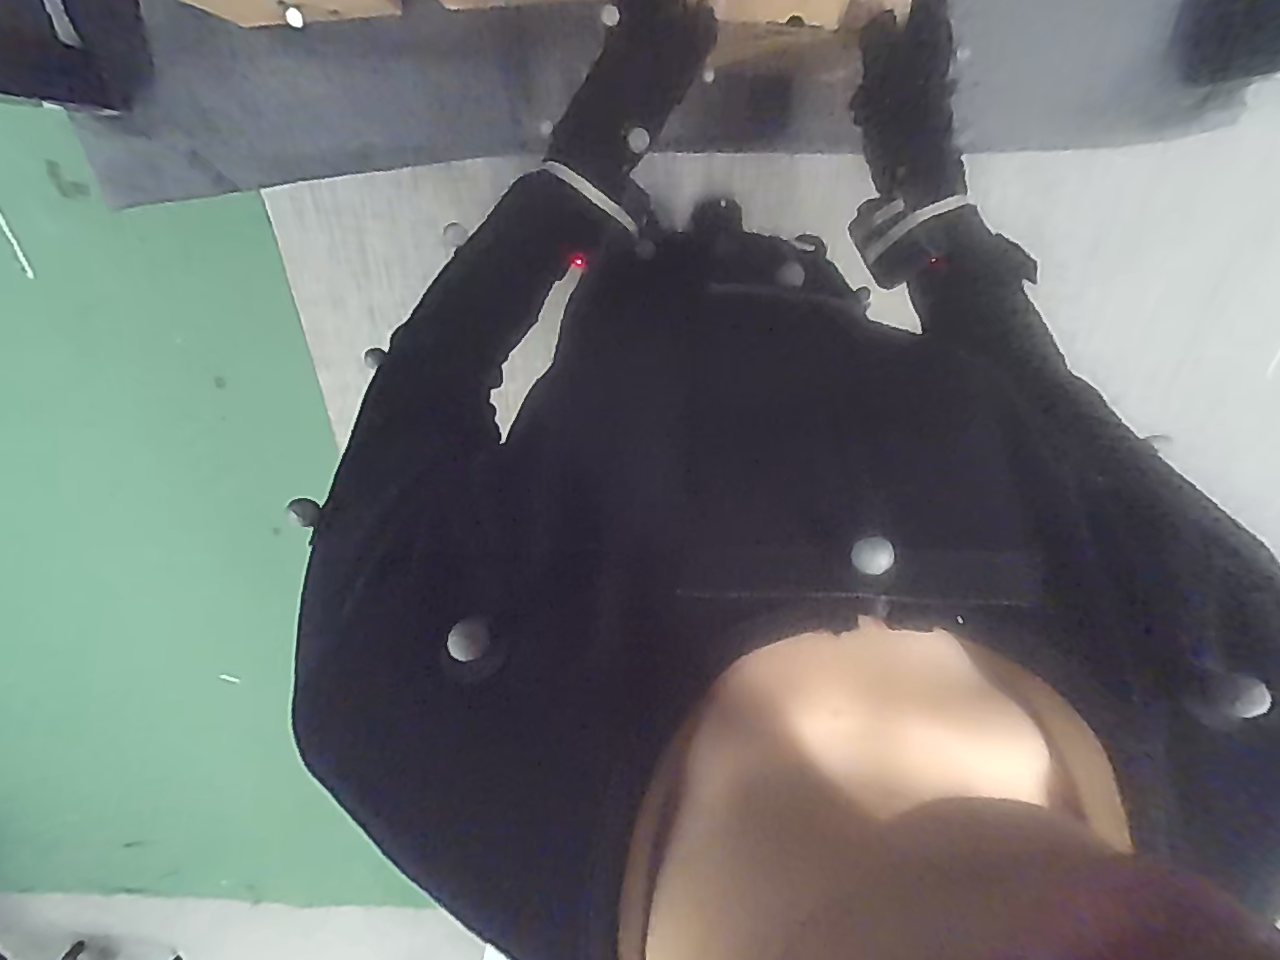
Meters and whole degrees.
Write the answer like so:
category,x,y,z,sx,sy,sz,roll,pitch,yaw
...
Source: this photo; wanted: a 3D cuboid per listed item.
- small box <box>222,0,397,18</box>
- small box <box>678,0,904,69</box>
category,x,y,z,sx,sy,sz,roll,pitch,yaw
small box,-0.316,-0.498,0.419,0.168,0.176,0.179,-2,118,3
small box,0.120,-0.453,0.432,0.168,0.176,0.179,4,117,0
